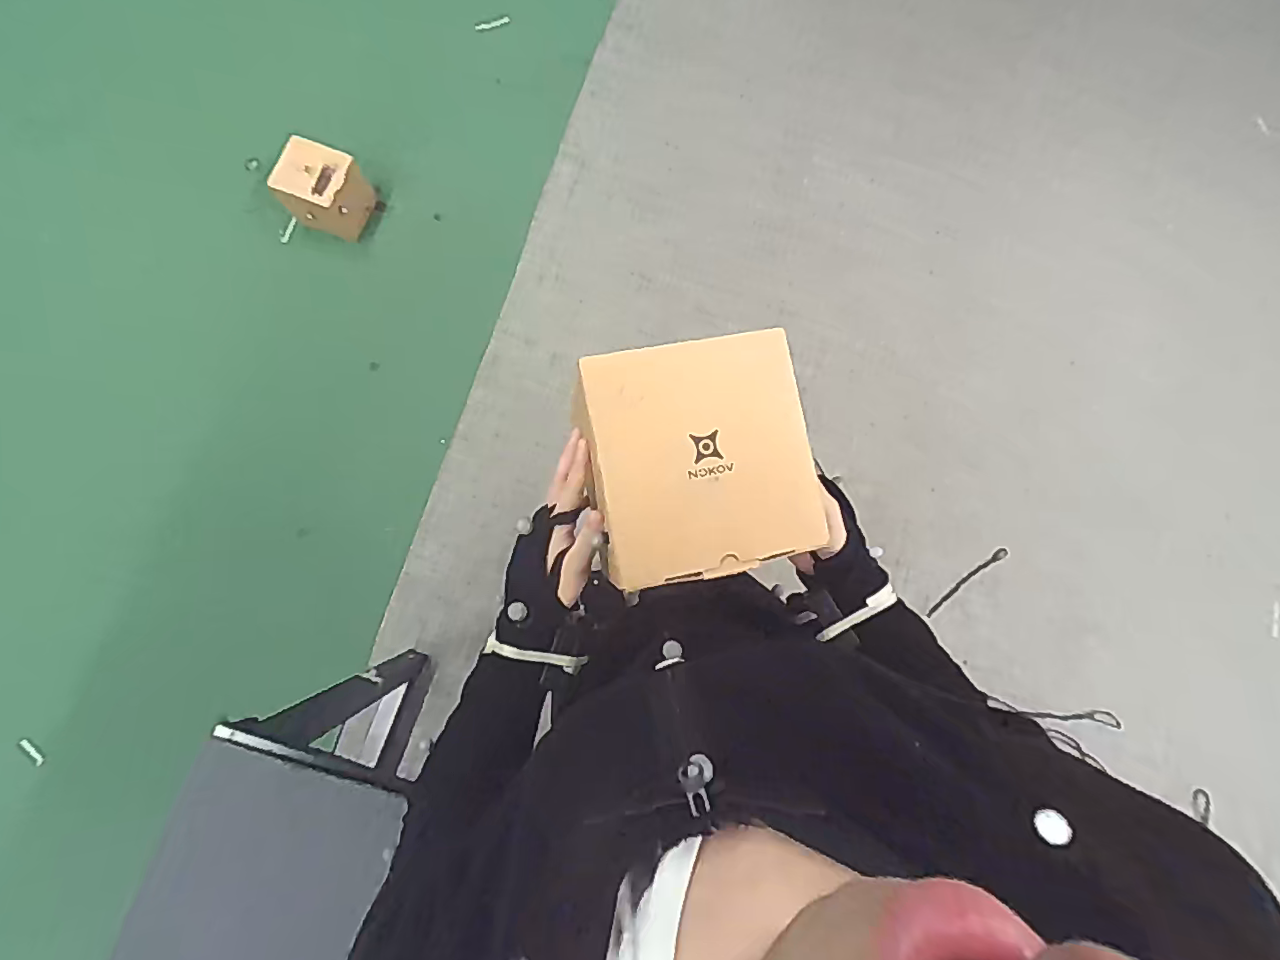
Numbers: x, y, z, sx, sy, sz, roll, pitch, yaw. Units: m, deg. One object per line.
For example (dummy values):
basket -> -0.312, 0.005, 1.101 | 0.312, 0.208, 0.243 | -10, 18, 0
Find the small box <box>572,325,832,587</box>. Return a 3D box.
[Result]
small box -> 0.036, -0.013, 0.473 | 0.168, 0.176, 0.179 | -11, 86, -10
